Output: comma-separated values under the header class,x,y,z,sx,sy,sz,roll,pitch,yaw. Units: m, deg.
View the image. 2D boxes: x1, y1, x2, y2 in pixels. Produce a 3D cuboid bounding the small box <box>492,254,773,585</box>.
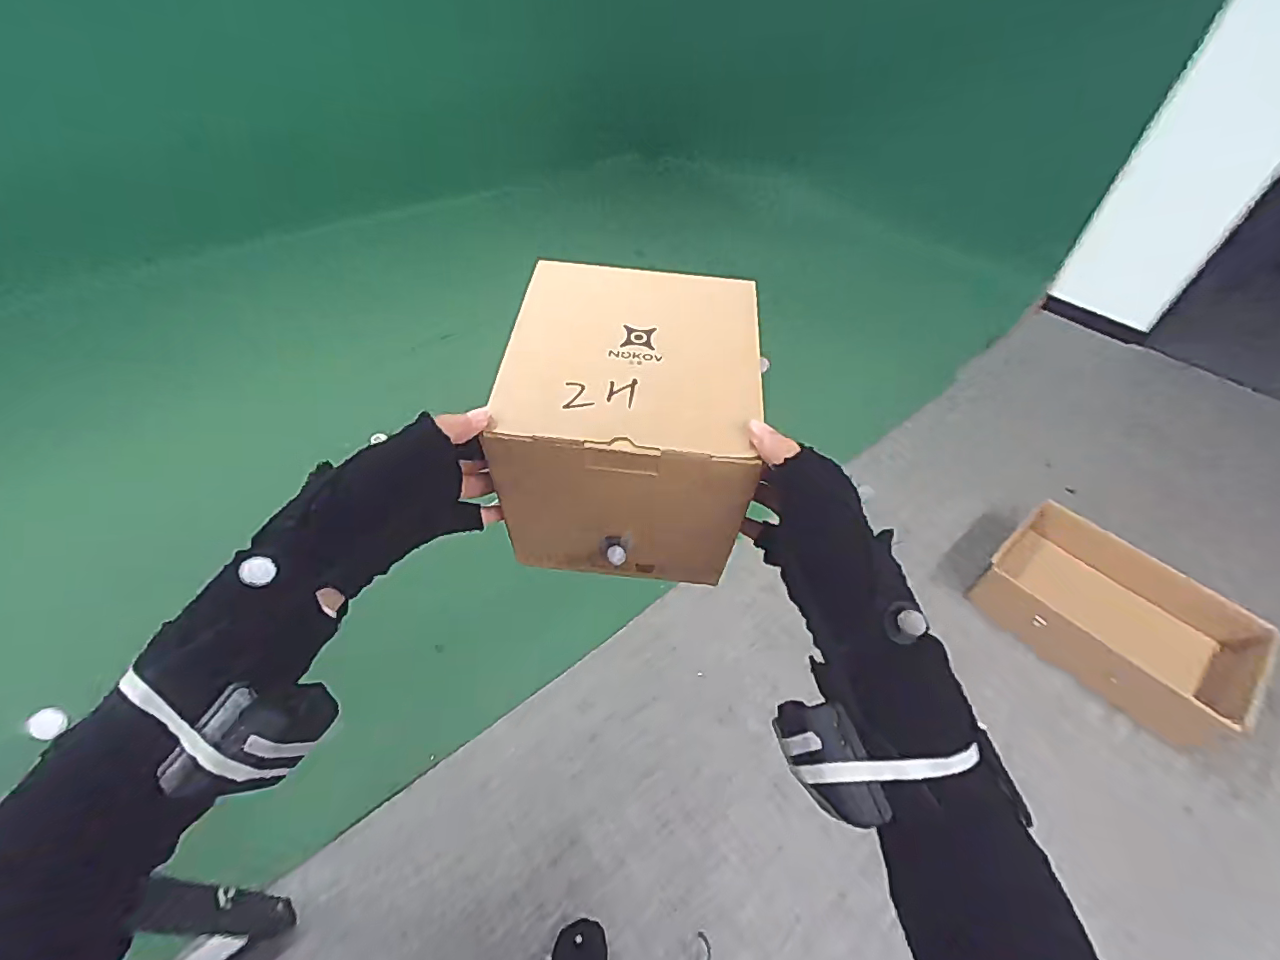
class,x,y,z,sx,sy,sz,roll,pitch,yaw
small box,0.000,-0.042,0.418,0.168,0.176,0.179,7,55,2
